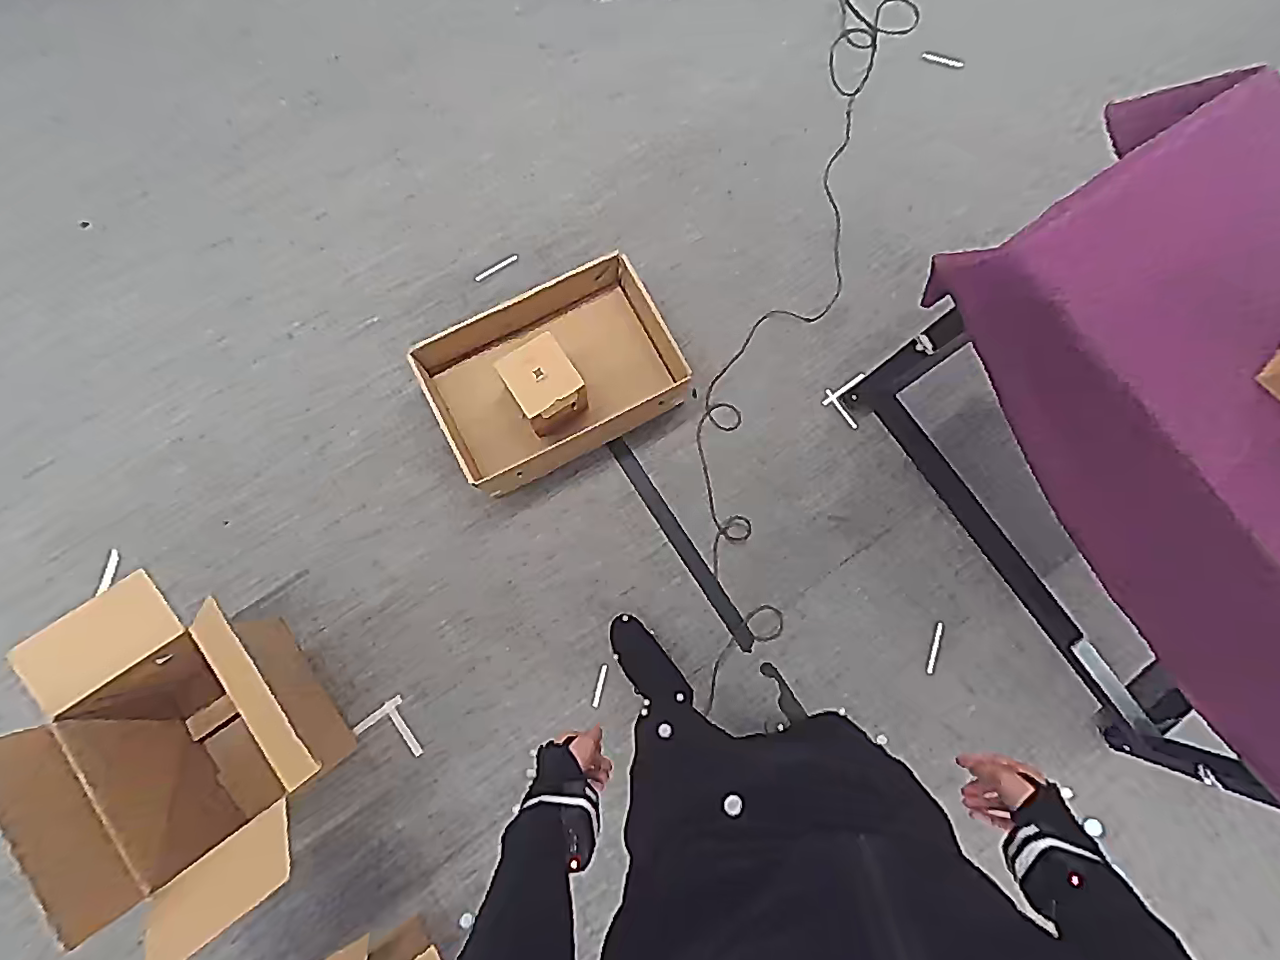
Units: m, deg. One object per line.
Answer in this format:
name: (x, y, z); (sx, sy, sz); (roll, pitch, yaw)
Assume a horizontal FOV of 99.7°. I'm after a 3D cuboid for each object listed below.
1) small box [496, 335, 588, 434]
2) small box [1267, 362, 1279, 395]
small box: (-0.245, -0.236, 1.404); (0.168, 0.176, 0.179); (-33, 83, -9)
small box: (1.057, -0.158, 0.743); (0.168, 0.176, 0.179); (-43, 84, -8)
